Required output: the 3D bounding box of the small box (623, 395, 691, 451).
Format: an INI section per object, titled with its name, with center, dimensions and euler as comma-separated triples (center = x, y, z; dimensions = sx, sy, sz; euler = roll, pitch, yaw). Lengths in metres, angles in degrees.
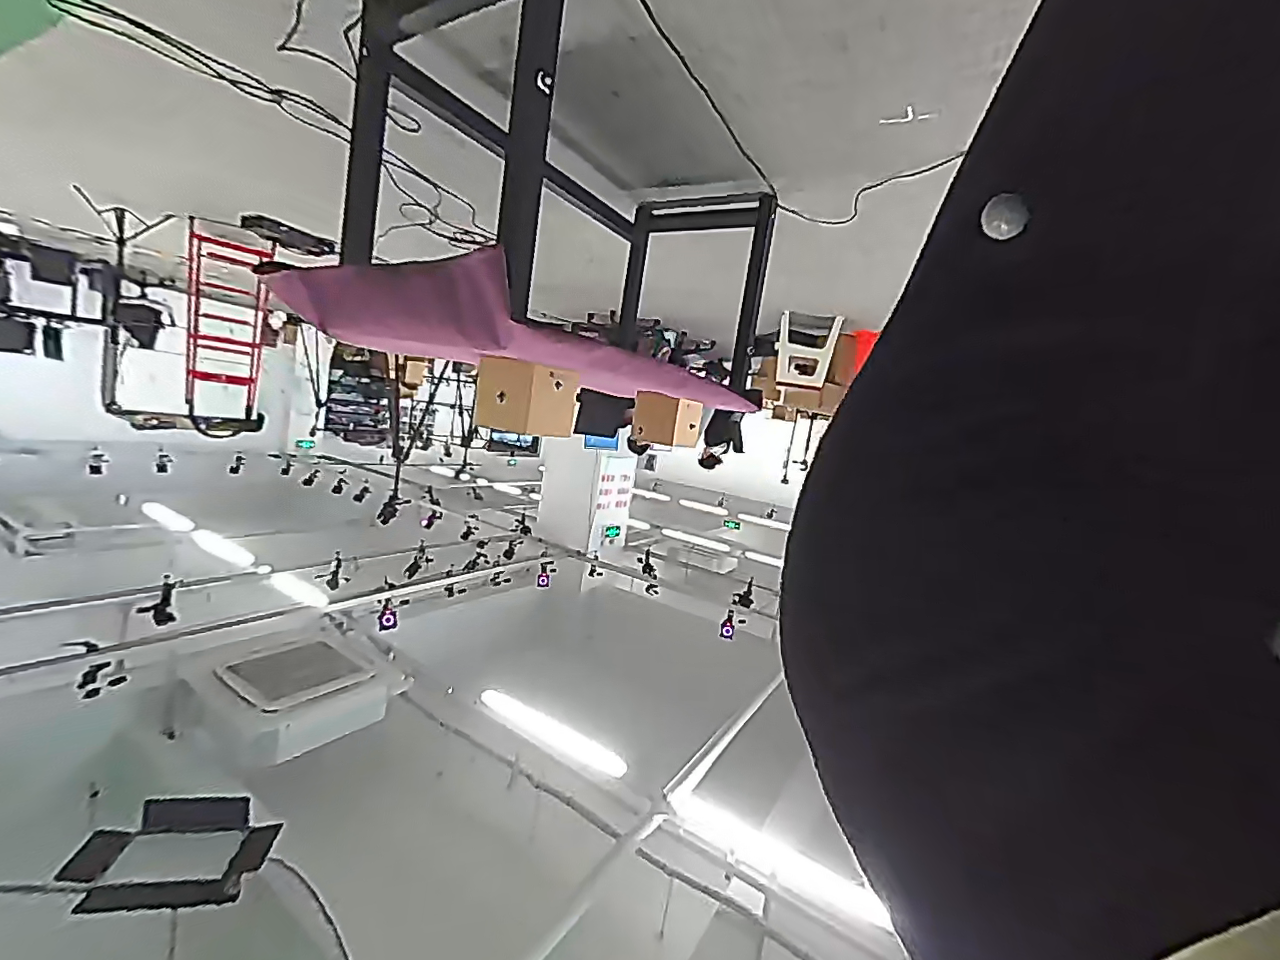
[small box]
center = 0.063, -0.194, 1.833
dimensions = 0.179, 0.176, 0.168
euler = 13, -173, 31
